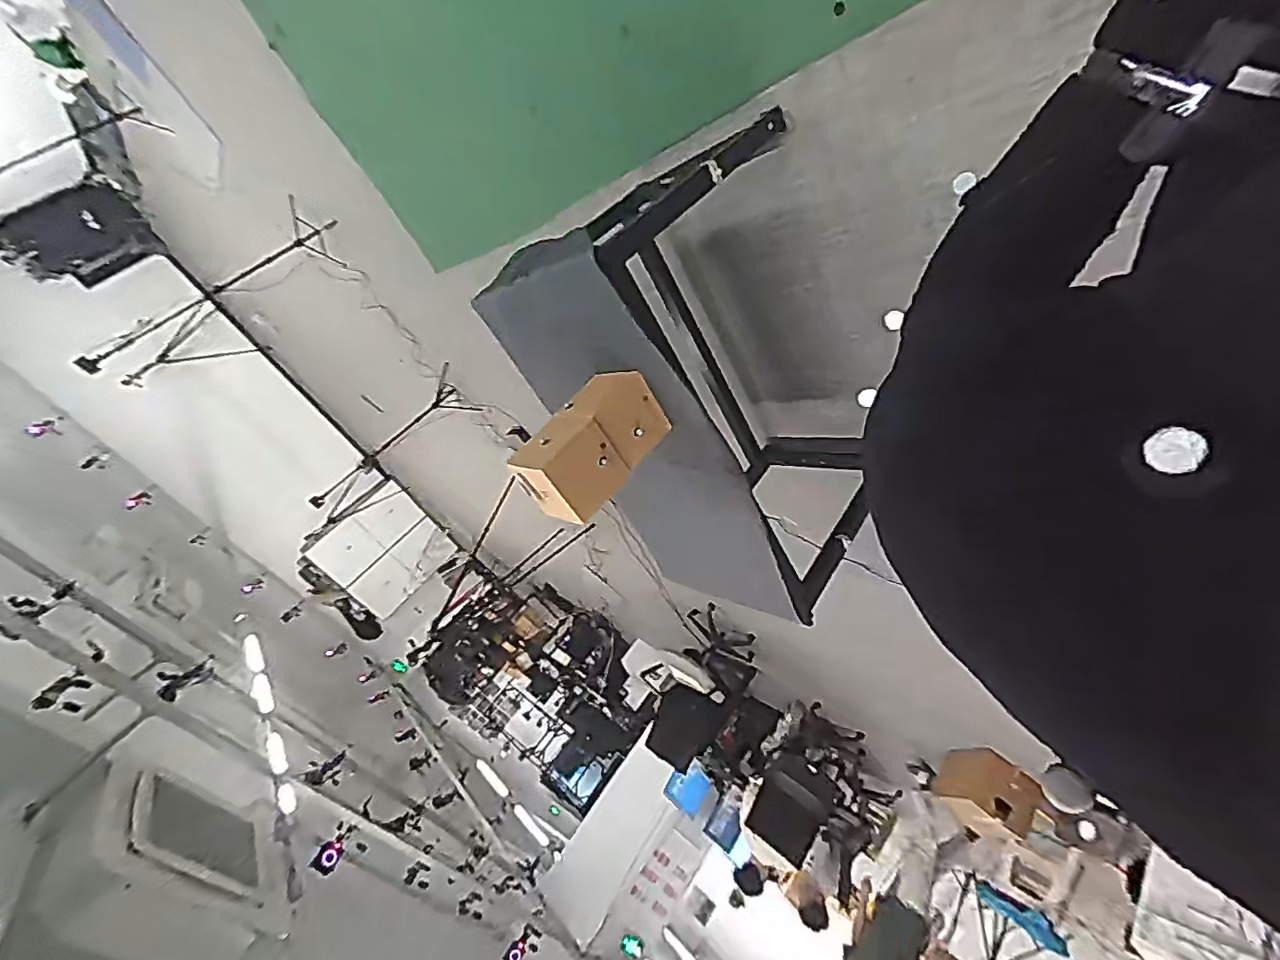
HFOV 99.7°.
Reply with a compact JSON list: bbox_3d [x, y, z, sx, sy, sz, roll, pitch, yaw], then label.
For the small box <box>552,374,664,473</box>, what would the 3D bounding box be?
[{"bbox_3d":[-0.066,-0.136,1.275,0.179,0.176,0.168,9,141,51],"label":"small box"}]
